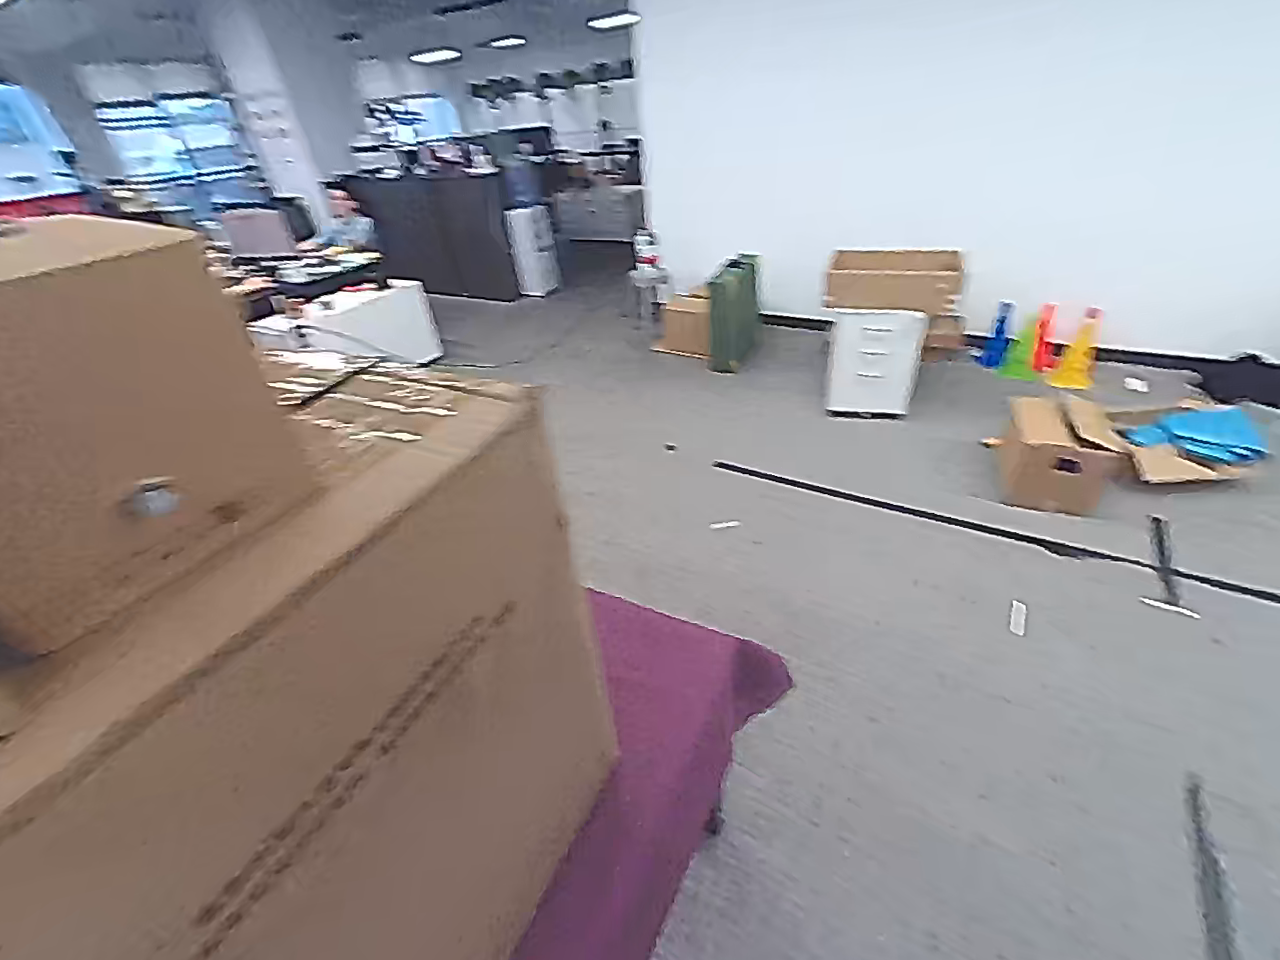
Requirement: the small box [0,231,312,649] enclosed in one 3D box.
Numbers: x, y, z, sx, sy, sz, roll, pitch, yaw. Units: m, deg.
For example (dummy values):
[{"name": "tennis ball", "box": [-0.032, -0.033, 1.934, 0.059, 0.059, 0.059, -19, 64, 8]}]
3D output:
[{"name": "small box", "box": [-0.343, -0.034, 0.315, 0.179, 0.176, 0.168, 16, 42, 25]}]
